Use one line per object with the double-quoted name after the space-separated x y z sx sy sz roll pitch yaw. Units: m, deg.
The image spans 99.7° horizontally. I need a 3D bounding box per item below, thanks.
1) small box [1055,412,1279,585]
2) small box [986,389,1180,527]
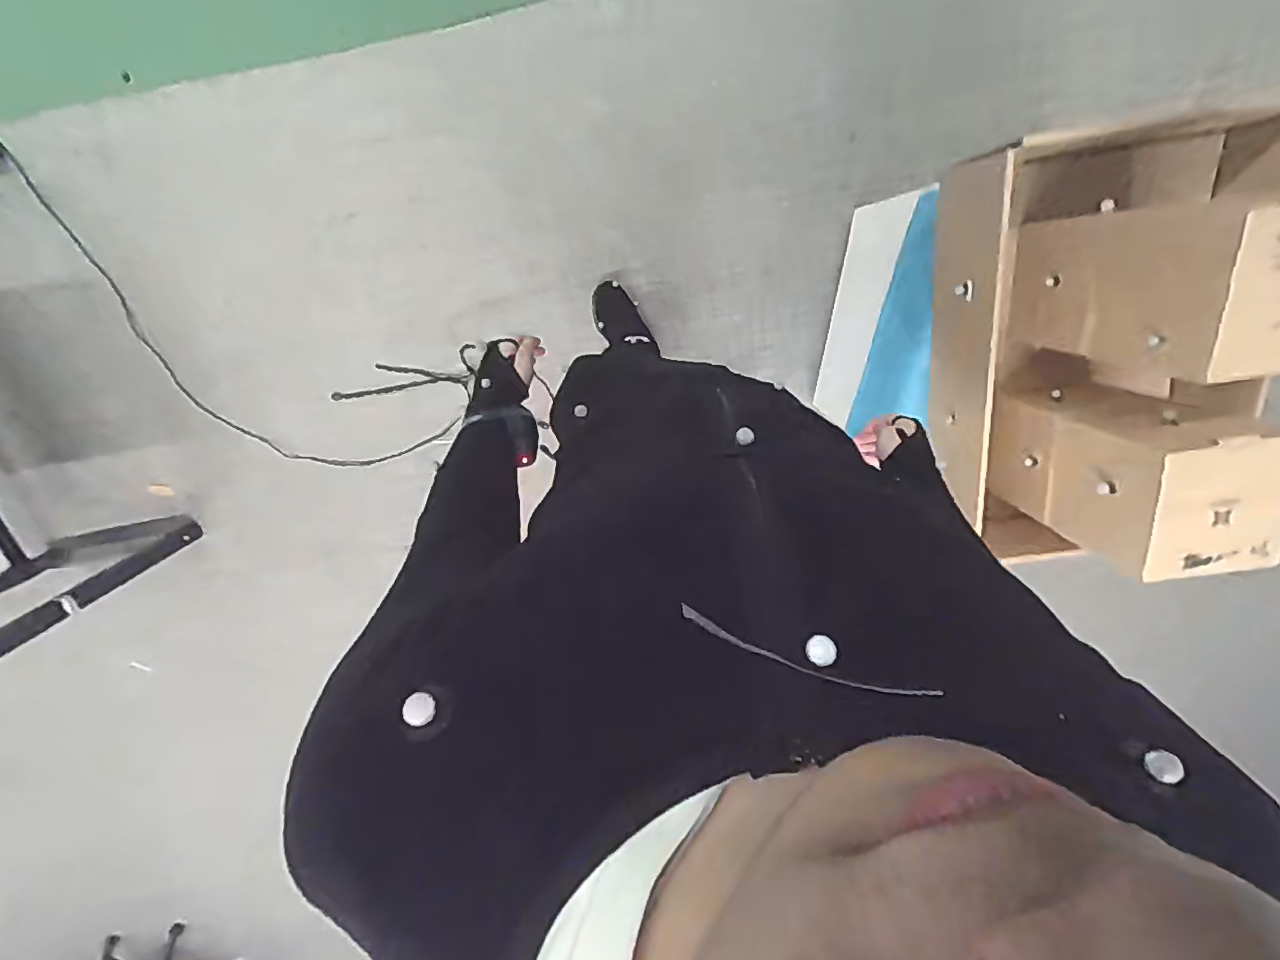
0.691 0.013 0.712 0.168 0.176 0.179 -8 109 4 "small box"
0.689 -0.045 0.866 0.168 0.176 0.179 -7 111 3 "small box"
